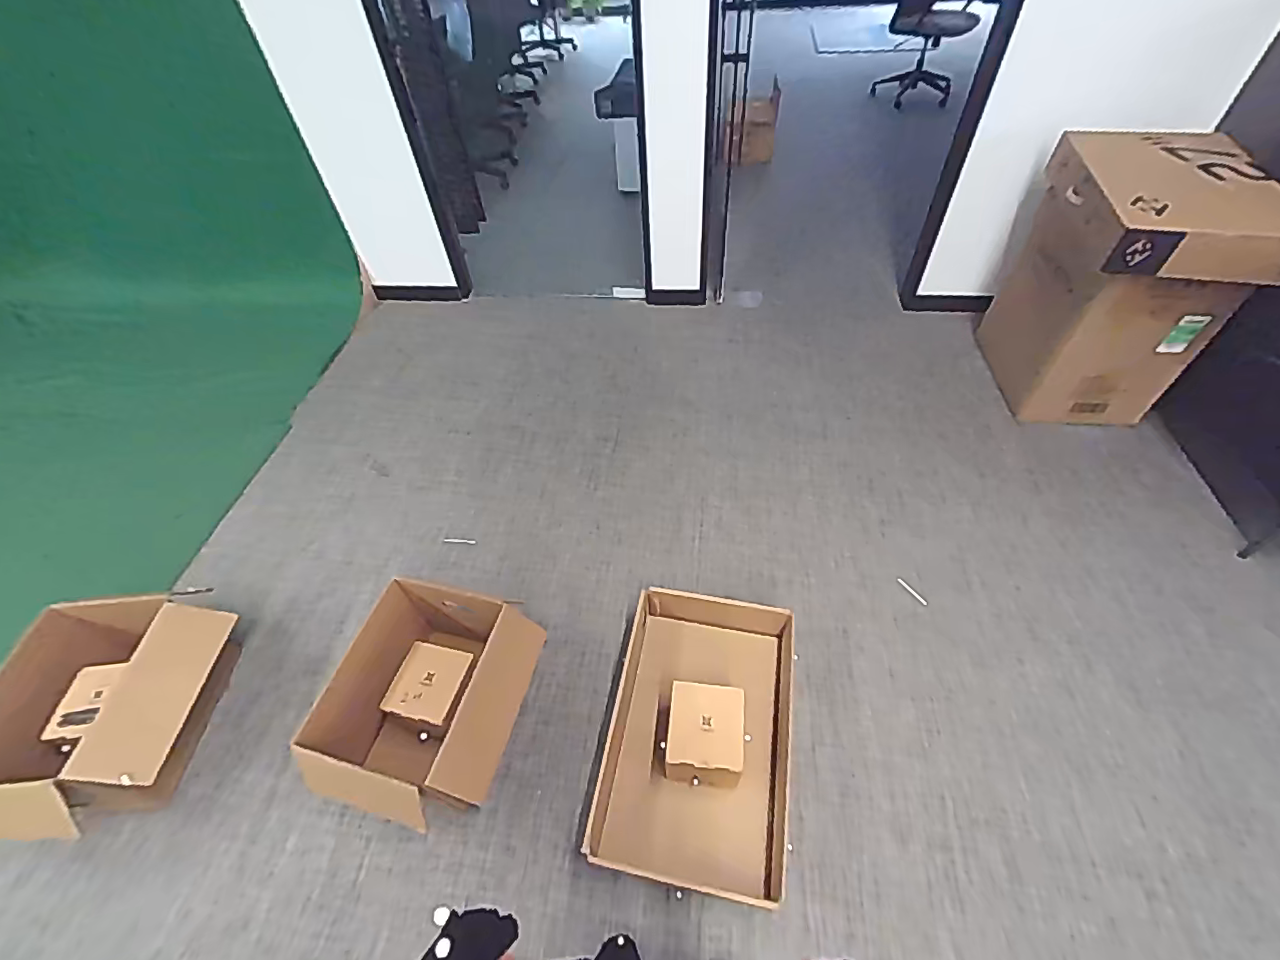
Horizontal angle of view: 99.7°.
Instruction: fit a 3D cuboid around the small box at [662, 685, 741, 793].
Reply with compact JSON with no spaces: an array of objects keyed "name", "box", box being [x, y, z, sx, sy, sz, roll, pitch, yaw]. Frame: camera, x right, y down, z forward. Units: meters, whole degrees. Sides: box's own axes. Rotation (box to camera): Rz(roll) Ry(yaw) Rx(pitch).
[{"name":"small box","box":[0.140,0.595,1.242,0.168,0.176,0.179,4,50,6]}]
